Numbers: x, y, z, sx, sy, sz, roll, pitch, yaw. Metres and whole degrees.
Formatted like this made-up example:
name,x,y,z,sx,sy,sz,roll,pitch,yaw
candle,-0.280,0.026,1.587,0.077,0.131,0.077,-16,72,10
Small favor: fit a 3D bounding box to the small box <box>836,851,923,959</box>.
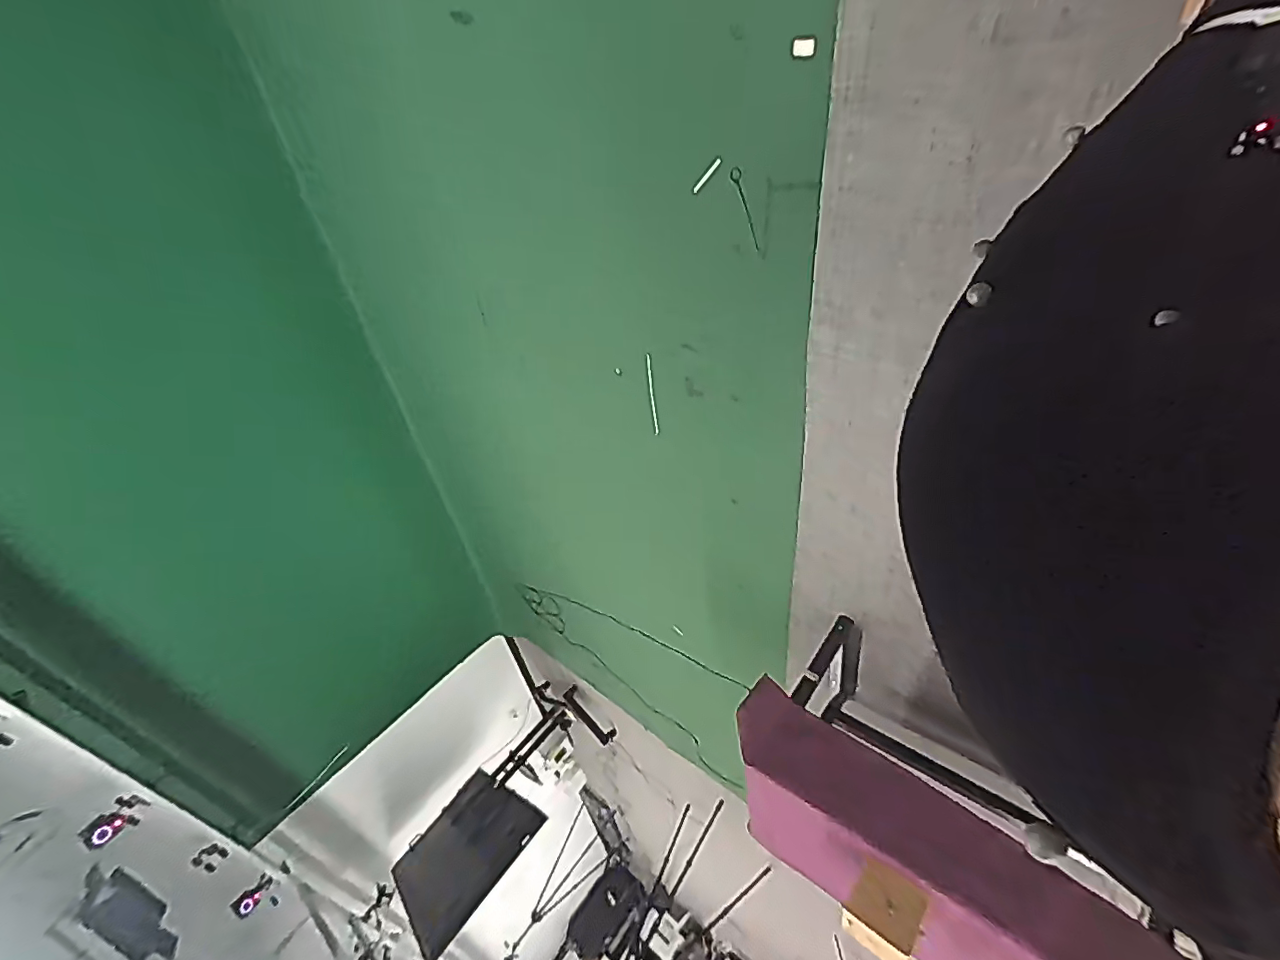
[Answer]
name,x,y,z,sx,sy,sz,roll,pitch,yaw
small box,0.671,1.195,1.514,0.179,0.176,0.168,19,136,36
